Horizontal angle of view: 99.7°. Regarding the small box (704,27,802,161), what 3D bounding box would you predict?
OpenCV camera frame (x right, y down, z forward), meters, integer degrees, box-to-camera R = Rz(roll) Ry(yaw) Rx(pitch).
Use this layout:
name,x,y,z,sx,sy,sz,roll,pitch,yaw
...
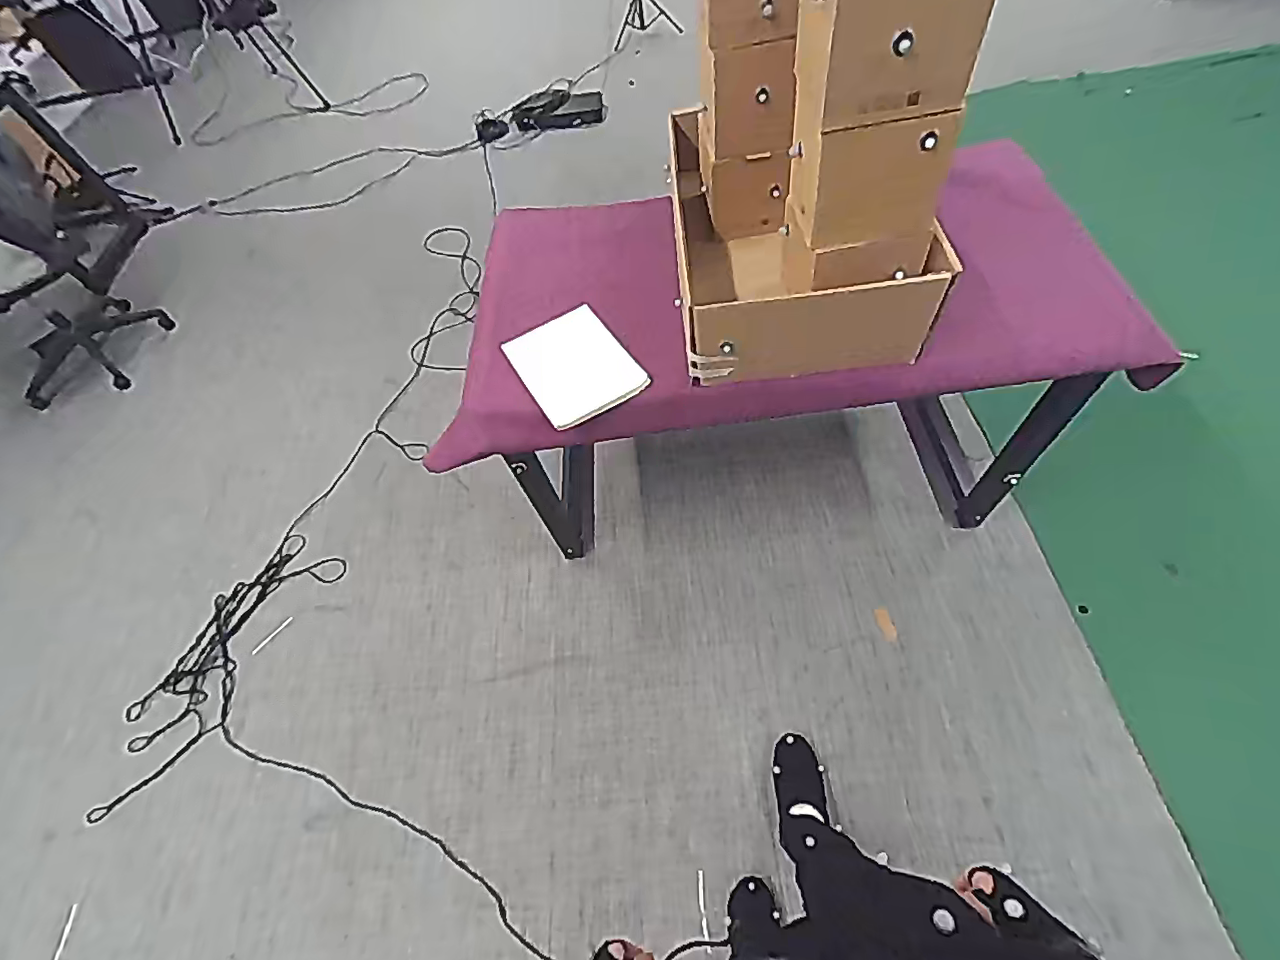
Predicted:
name,x,y,z,sx,sy,sz,roll,pitch,yaw
small box,0.206,-0.686,0.931,0.179,0.176,0.168,-8,59,4

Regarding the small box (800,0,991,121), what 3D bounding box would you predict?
name,x,y,z,sx,sy,sz,roll,pitch,yaw
small box,0.290,-0.544,0.630,0.168,0.176,0.179,-5,56,6

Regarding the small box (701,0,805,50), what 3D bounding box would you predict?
name,x,y,z,sx,sy,sz,roll,pitch,yaw
small box,0.182,-0.773,0.794,0.179,0.176,0.168,-5,59,4

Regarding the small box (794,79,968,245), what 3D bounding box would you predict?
name,x,y,z,sx,sy,sz,roll,pitch,yaw
small box,0.320,-0.456,0.766,0.179,0.176,0.168,-5,56,6
